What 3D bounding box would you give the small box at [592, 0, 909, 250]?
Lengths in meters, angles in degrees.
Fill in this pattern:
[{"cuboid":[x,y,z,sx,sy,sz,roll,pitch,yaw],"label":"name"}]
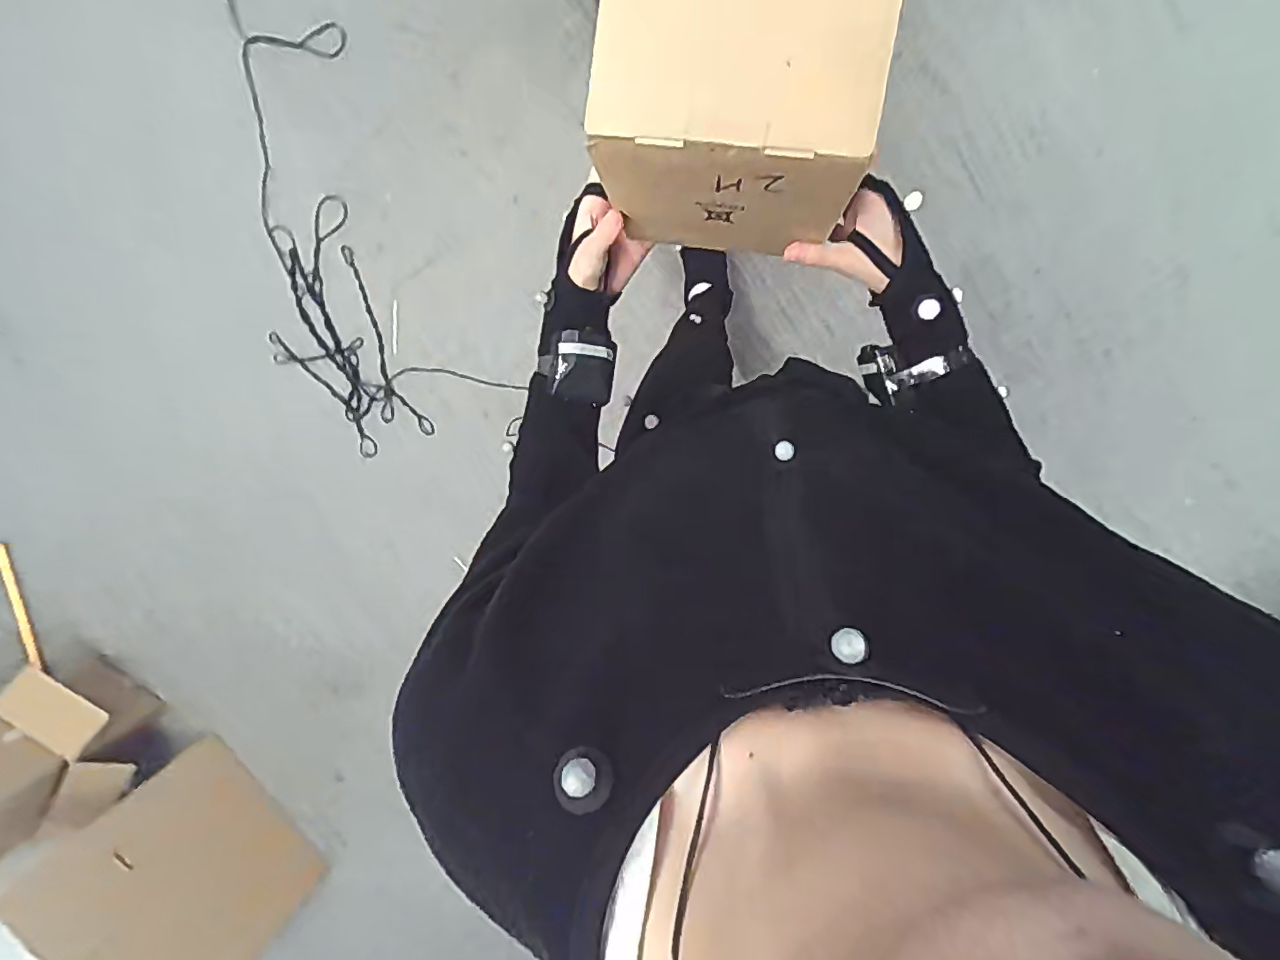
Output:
[{"cuboid":[0.074,-0.279,0.369,0.168,0.179,0.176,9,95,6],"label":"small box"}]
